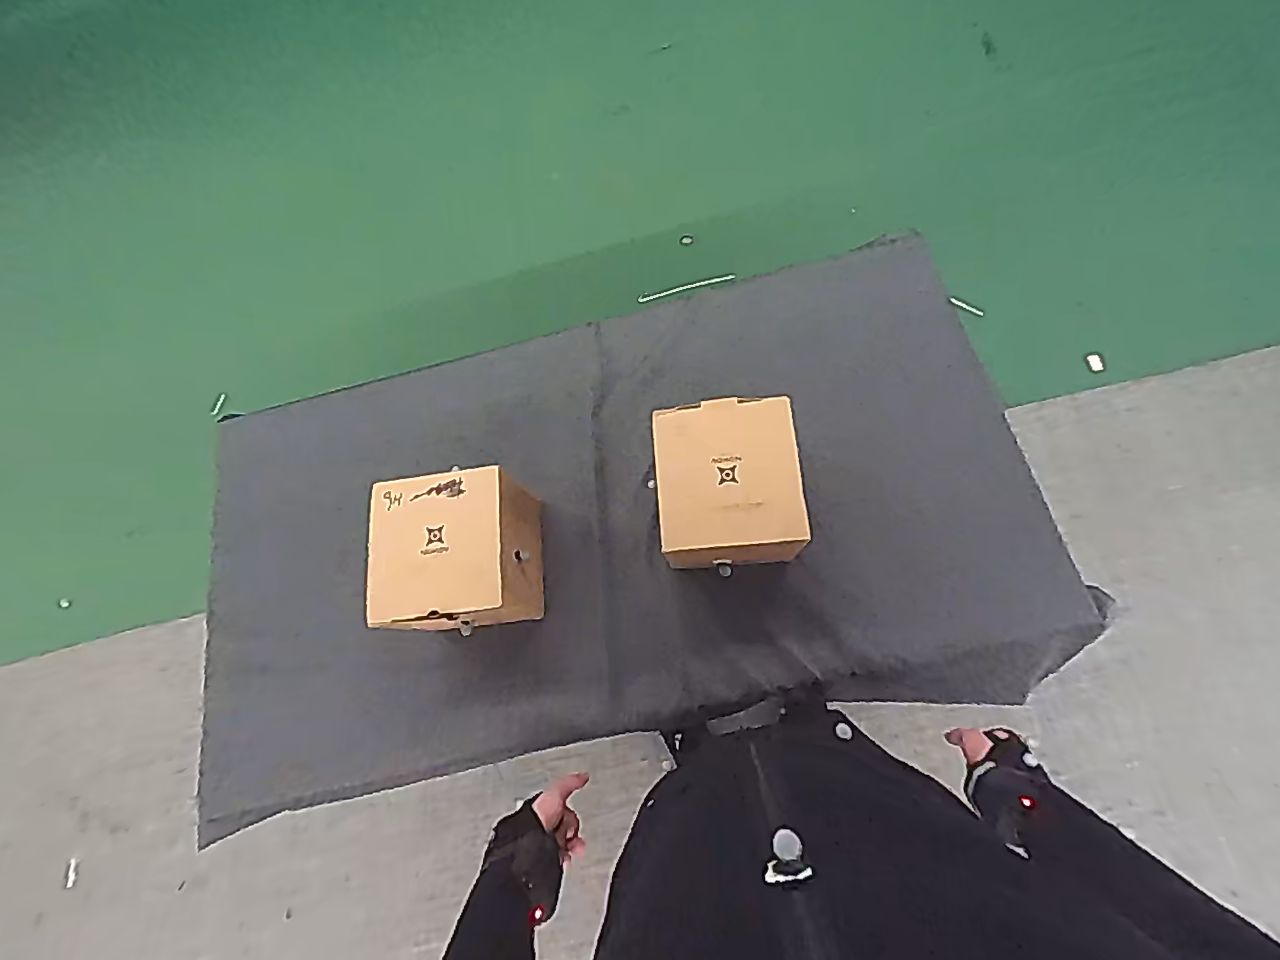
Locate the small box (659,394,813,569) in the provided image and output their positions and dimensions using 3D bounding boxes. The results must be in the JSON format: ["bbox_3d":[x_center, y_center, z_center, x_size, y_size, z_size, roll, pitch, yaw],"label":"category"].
[{"bbox_3d":[0.115,0.012,0.685,0.168,0.176,0.179,-5,72,9],"label":"small box"}]

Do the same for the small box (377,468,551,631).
[{"bbox_3d":[-0.226,0.103,0.724,0.168,0.176,0.179,-11,71,6],"label":"small box"}]
